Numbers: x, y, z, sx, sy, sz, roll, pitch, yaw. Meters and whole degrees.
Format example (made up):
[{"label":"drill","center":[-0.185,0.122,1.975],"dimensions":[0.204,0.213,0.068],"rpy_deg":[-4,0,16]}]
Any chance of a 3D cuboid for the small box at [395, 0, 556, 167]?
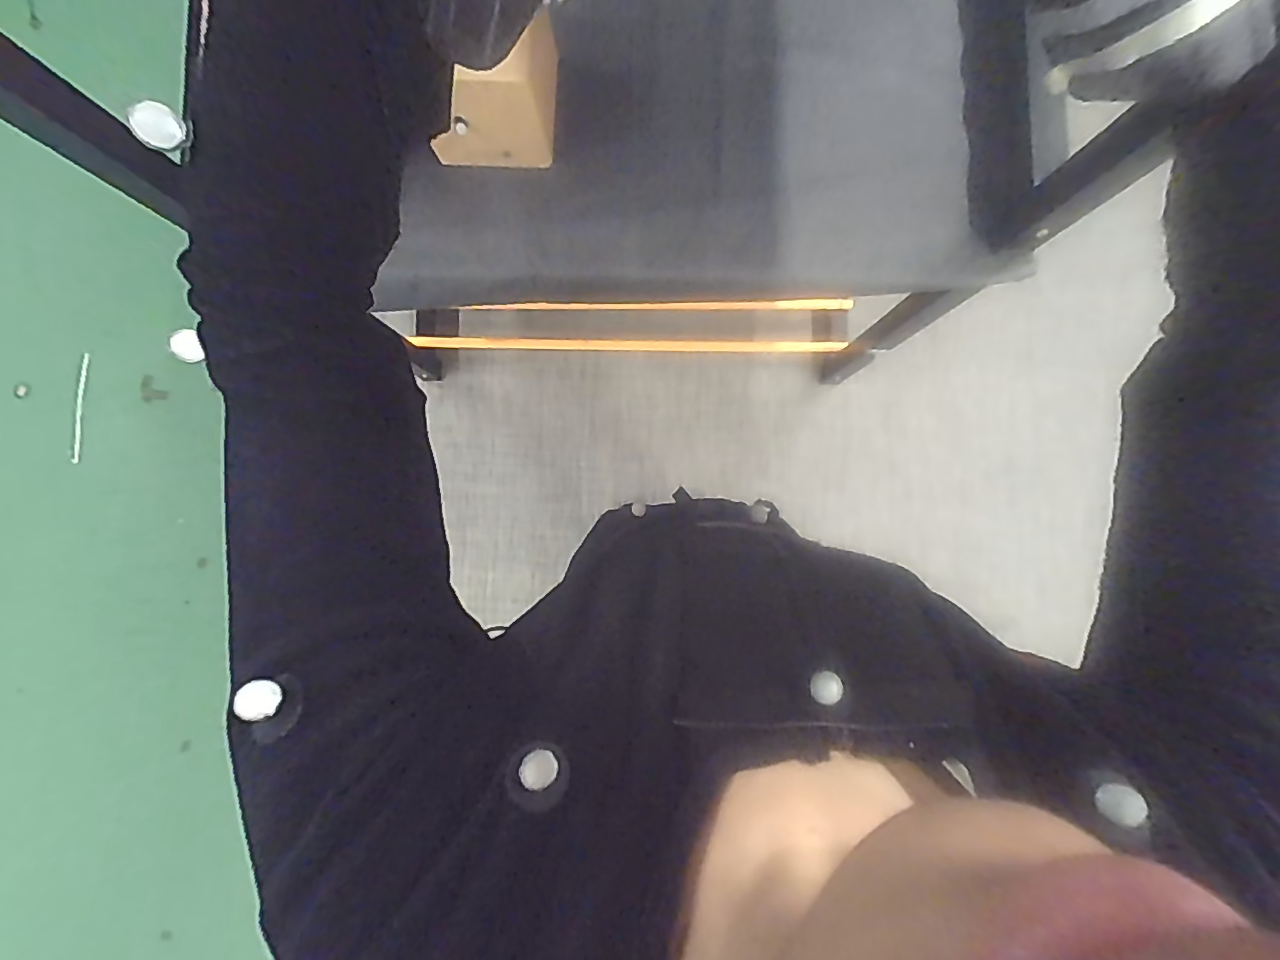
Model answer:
[{"label":"small box","center":[-0.211,-0.557,0.735],"dimensions":[0.168,0.176,0.179],"rpy_deg":[2,86,0]}]
